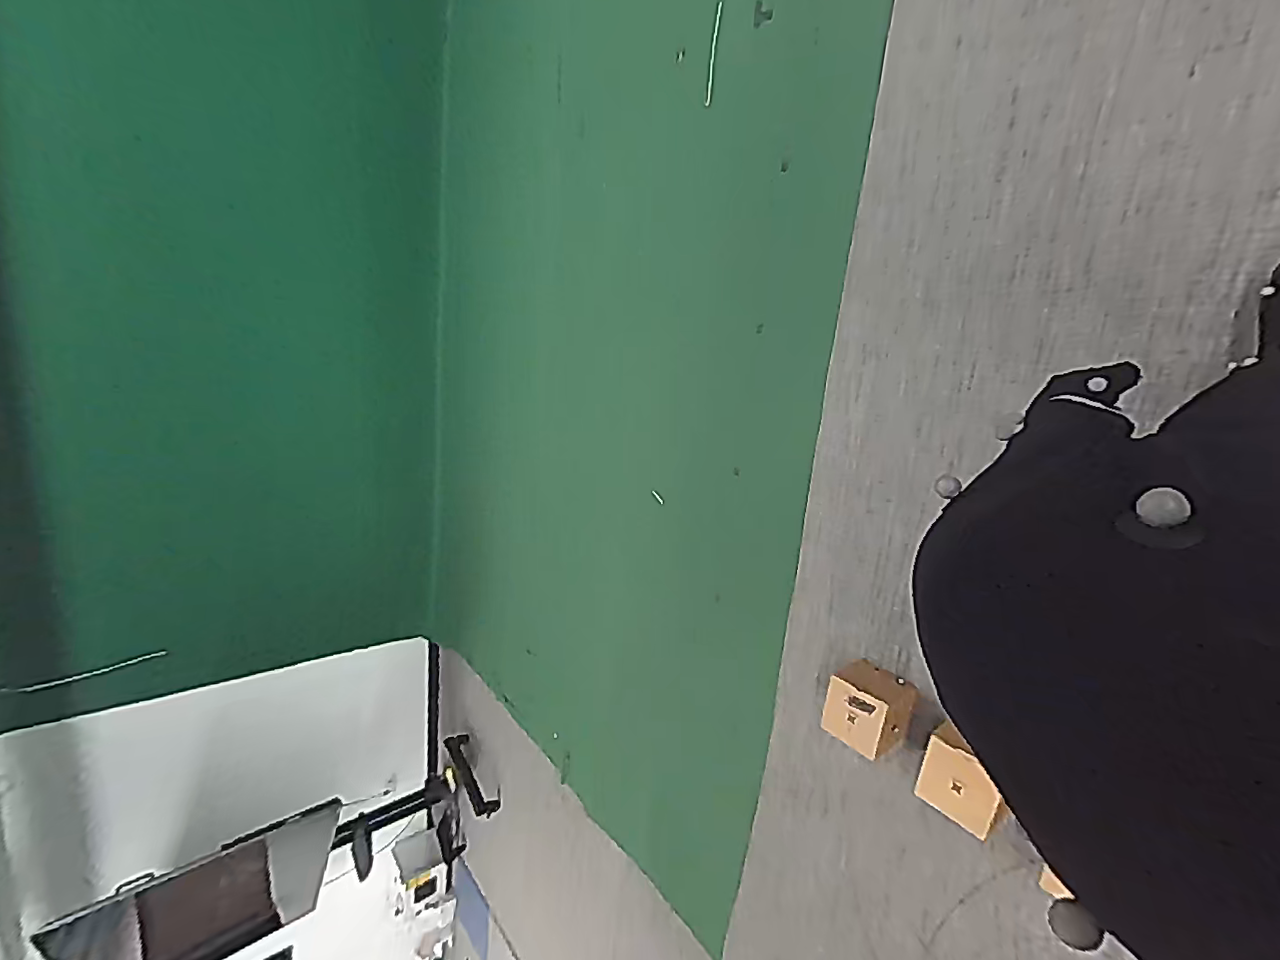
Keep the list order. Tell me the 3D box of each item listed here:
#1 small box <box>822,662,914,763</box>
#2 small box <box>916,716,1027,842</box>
[{"bbox_3d":[0.639,0.638,1.509,0.168,0.176,0.179,21,110,47],"label":"small box"},{"bbox_3d":[0.809,0.717,1.316,0.168,0.176,0.179,22,109,47],"label":"small box"}]
